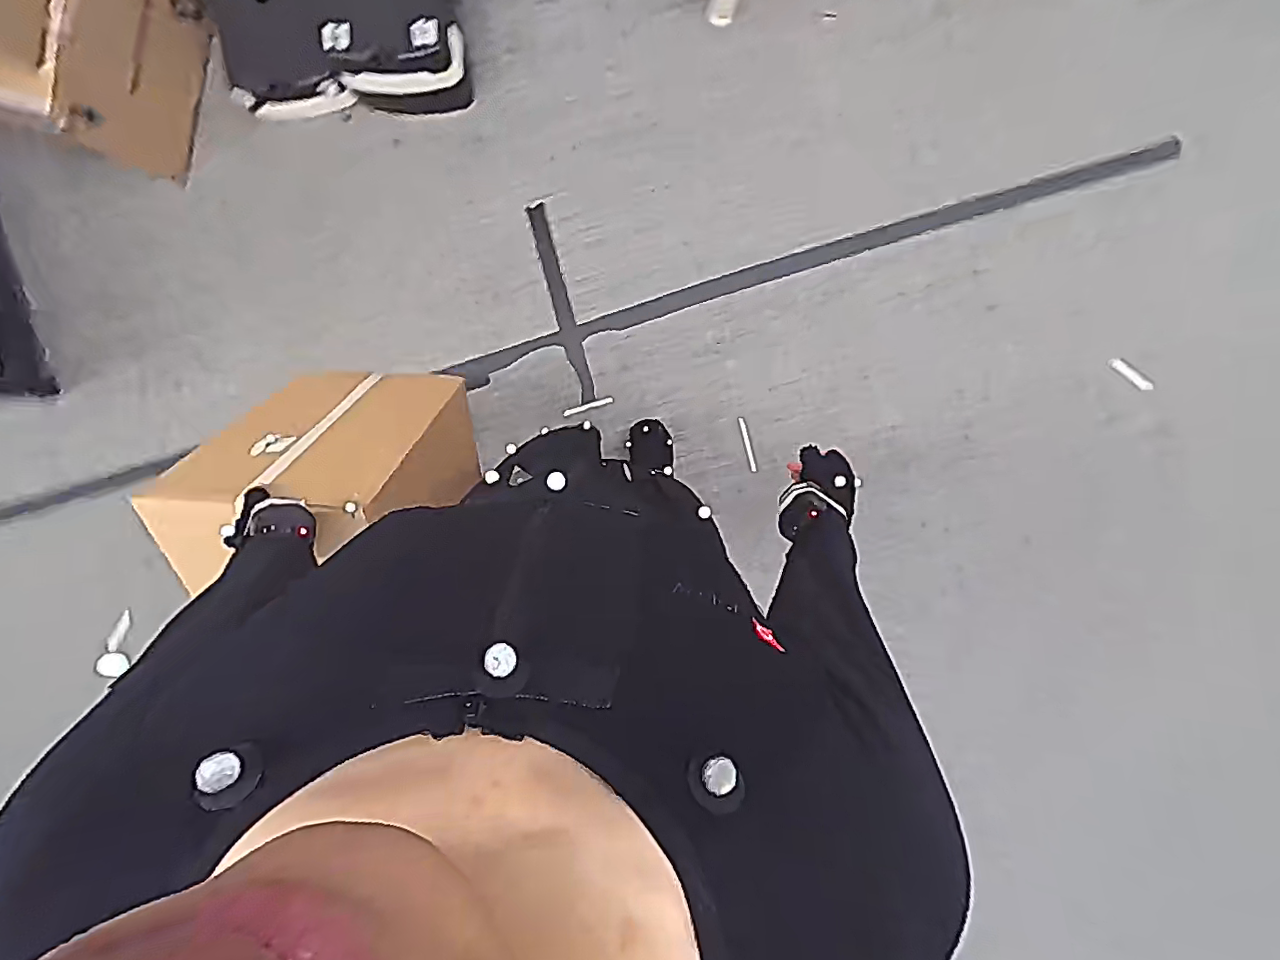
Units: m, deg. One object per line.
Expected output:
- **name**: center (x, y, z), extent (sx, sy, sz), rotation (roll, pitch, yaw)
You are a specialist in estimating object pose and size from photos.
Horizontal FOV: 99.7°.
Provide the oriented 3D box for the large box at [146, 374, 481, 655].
- **large box**: center (-0.505, 0.042, 0.962), extent (0.320, 0.408, 0.320), rotation (3, 125, 3)
